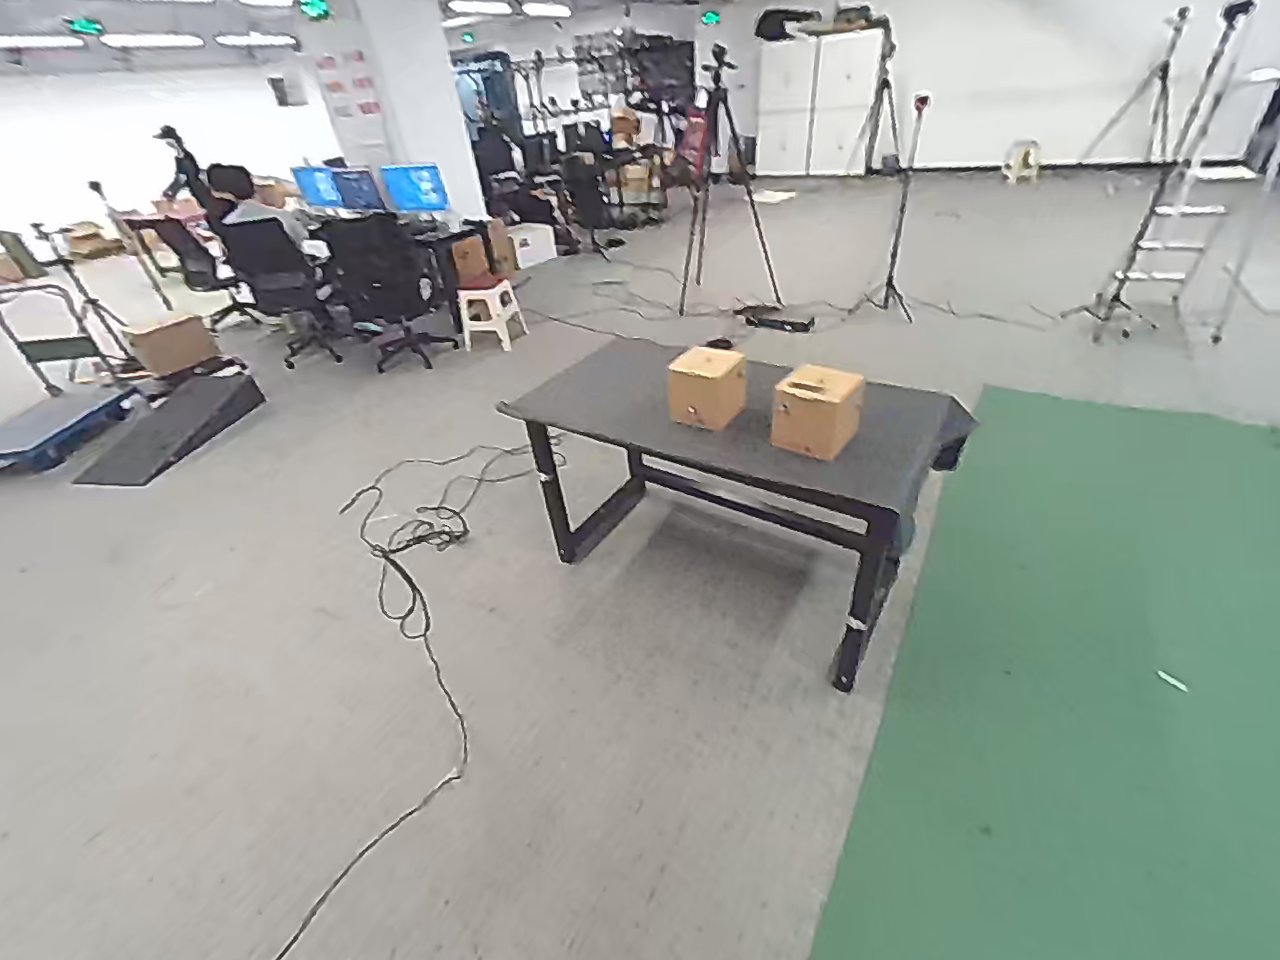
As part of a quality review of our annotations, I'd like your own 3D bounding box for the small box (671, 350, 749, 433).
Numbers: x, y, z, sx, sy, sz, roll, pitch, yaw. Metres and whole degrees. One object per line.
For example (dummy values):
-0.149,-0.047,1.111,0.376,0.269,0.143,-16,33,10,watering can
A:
0.203,-0.259,1.571,0.168,0.176,0.179,17,41,30,small box
